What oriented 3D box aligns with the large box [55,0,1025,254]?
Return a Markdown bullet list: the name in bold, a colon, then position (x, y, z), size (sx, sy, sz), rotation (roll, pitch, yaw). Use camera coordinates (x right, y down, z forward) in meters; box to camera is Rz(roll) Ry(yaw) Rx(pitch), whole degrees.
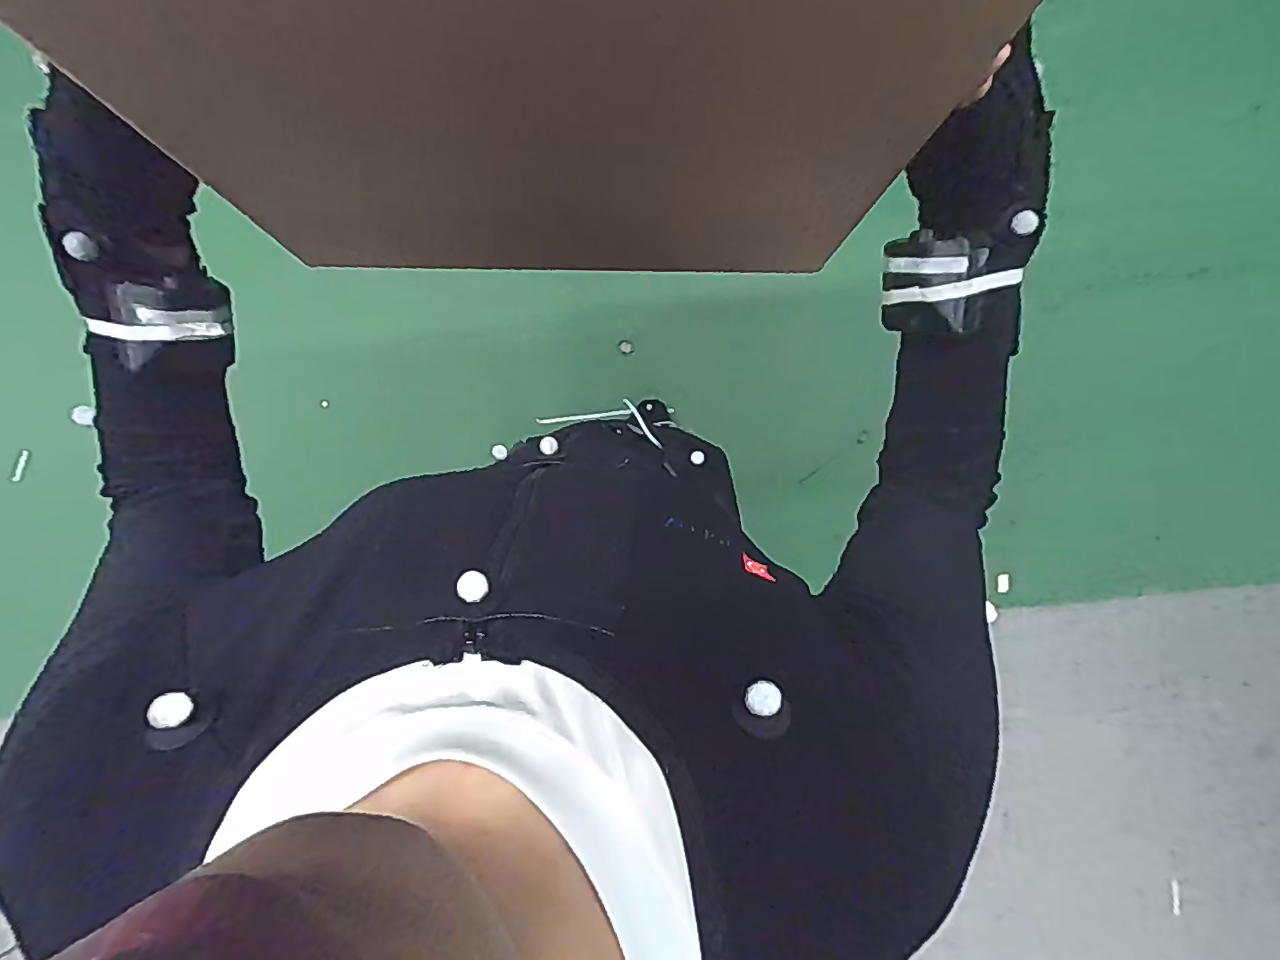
- **large box**: position (-0.043, -0.337, 0.284), size (0.408, 0.320, 0.320), rotation (0, 87, -3)
